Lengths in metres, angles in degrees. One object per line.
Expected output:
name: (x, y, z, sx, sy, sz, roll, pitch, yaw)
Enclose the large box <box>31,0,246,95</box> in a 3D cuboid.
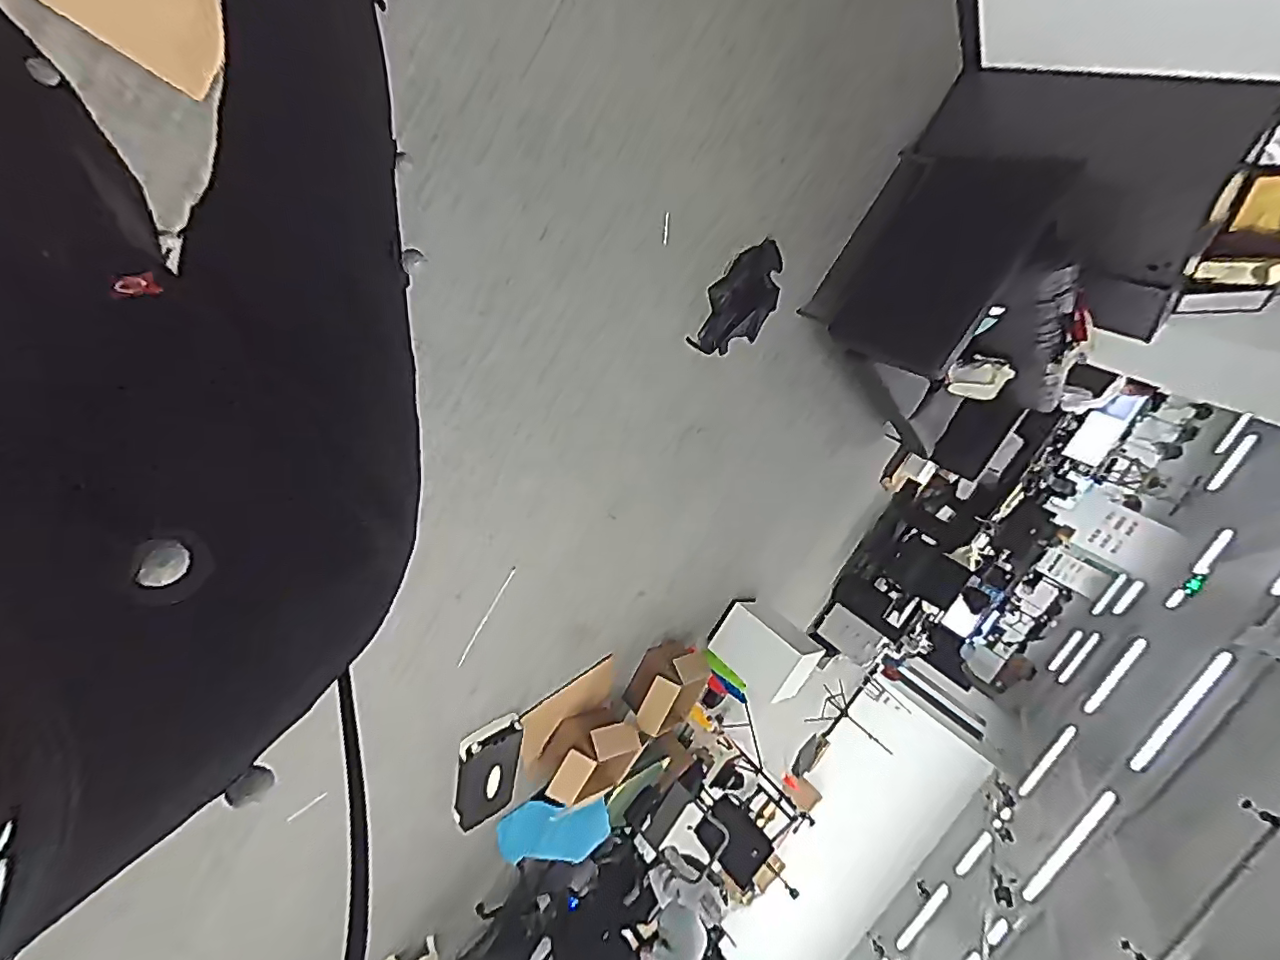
large box: (-0.720, -0.753, 0.629, 0.408, 0.320, 0.320, 19, 105, -55)
